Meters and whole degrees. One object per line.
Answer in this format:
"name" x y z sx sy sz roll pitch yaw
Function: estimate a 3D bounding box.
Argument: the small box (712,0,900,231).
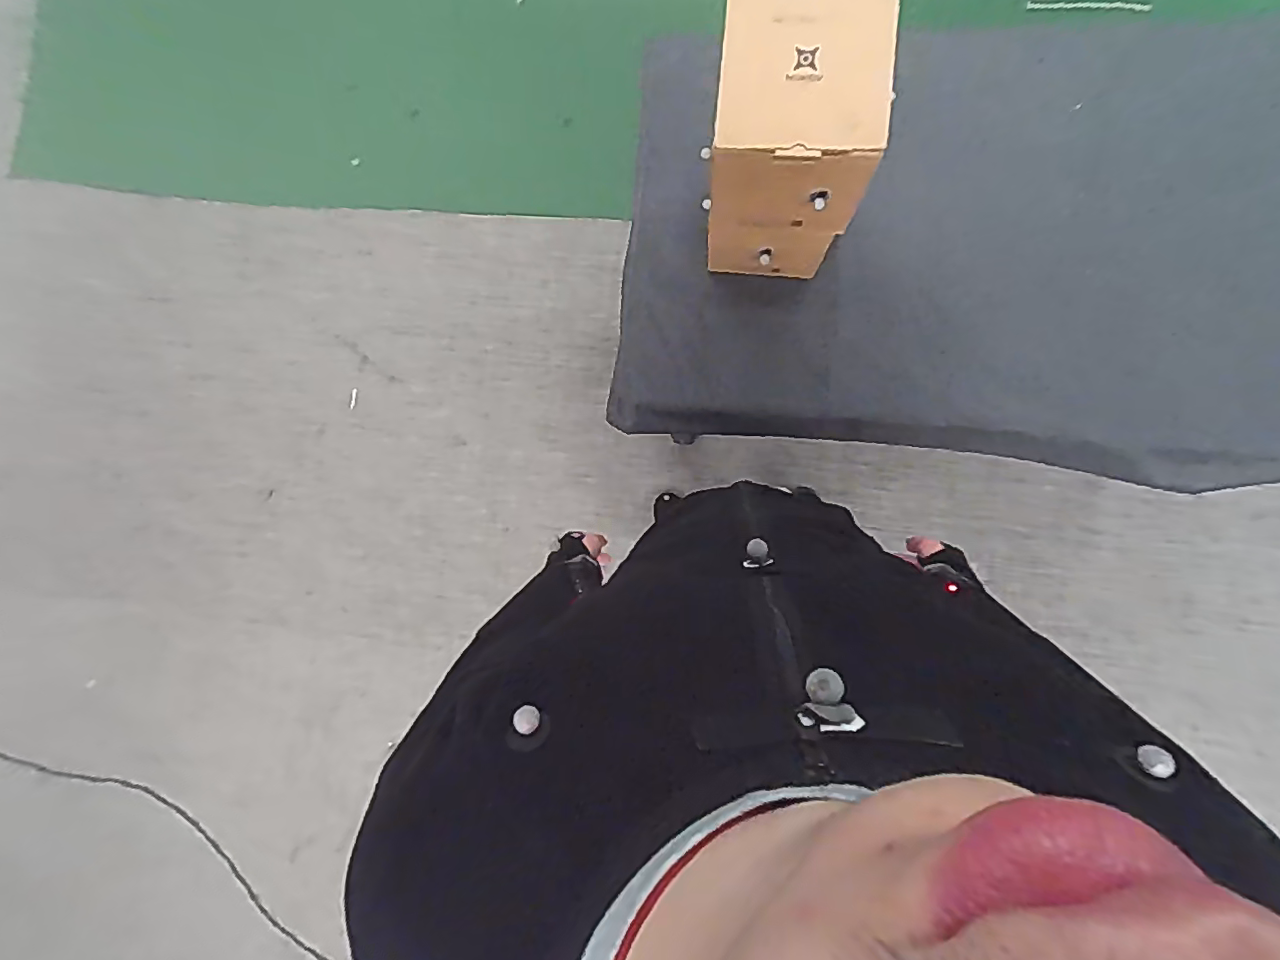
"small box" 0.170 -0.400 0.602 0.168 0.176 0.179 5 88 6

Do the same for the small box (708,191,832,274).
"small box" 0.188 -0.410 0.764 0.168 0.176 0.179 7 89 6
